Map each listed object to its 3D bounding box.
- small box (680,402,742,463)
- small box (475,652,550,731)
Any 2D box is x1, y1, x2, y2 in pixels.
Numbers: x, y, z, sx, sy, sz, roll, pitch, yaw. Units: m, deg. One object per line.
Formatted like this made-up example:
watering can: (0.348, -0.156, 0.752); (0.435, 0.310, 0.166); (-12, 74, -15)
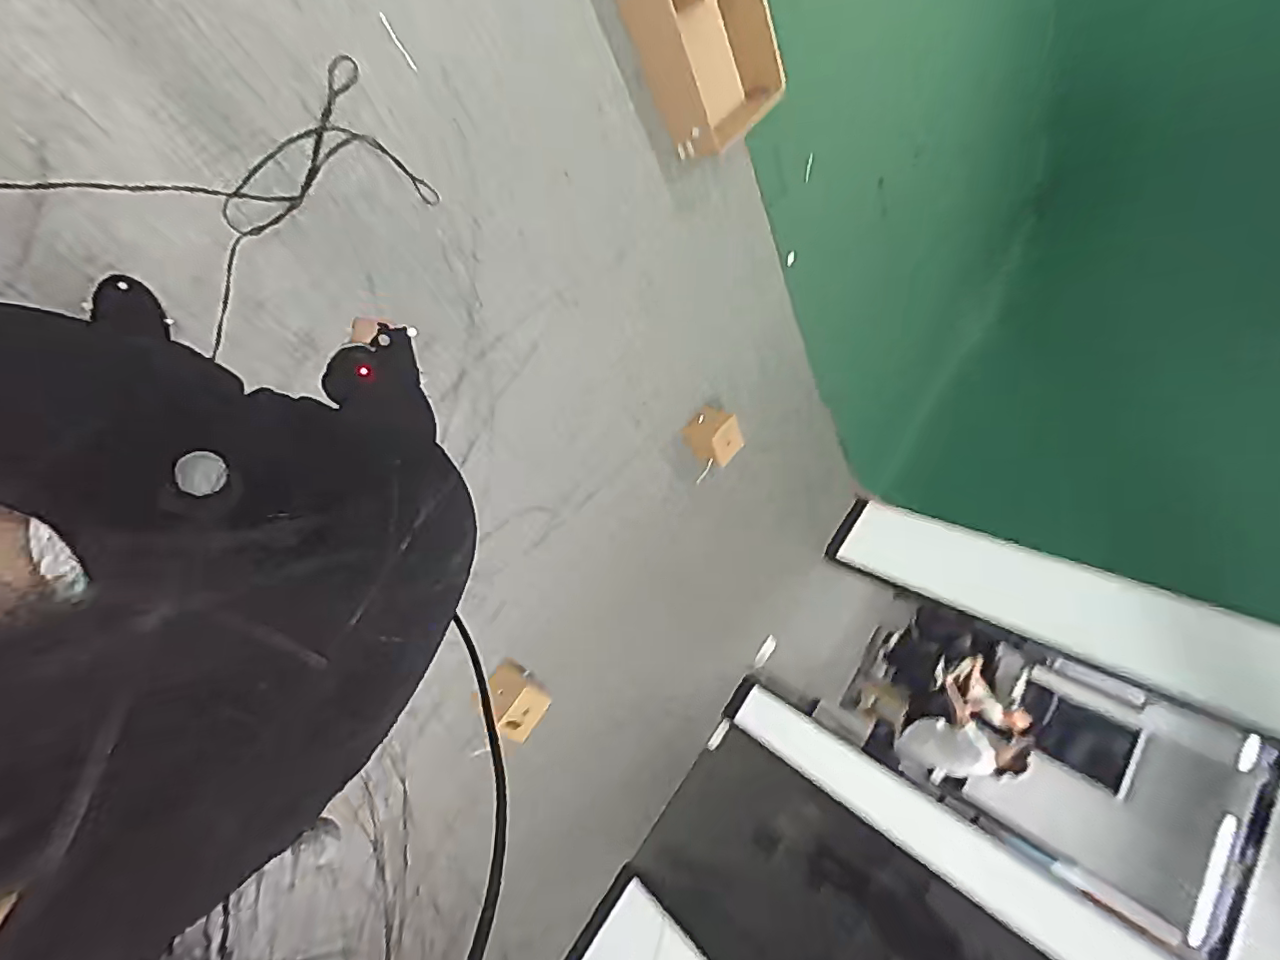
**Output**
small box: (0.298, -0.204, 2.271); (0.168, 0.176, 0.179); (-48, 134, -20)
small box: (-0.466, 0.757, 1.943); (0.179, 0.176, 0.168); (-51, 135, -17)
